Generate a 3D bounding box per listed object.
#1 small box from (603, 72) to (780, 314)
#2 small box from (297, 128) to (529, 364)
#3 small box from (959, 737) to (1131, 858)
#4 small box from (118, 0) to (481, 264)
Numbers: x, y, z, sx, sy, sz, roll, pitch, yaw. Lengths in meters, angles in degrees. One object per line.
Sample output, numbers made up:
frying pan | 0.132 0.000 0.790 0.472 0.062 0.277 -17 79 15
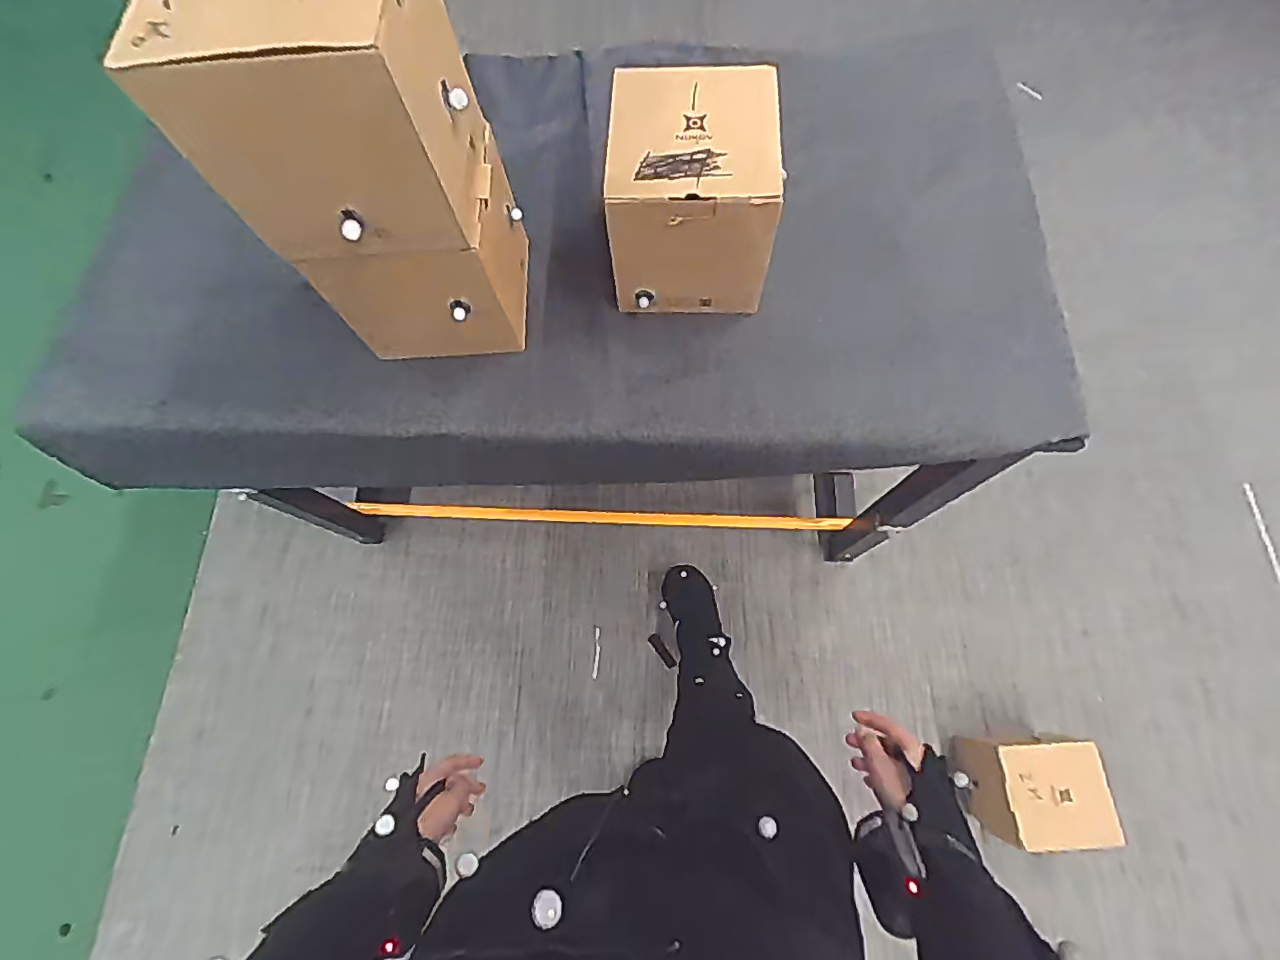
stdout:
small box | 0.057 -0.302 0.595 0.168 0.176 0.179 2 70 4
small box | -0.226 -0.243 0.593 0.179 0.176 0.168 -4 69 3
small box | 0.741 0.582 1.012 0.179 0.176 0.168 -5 70 2
small box | -0.240 -0.299 0.438 0.179 0.176 0.168 -3 69 2
